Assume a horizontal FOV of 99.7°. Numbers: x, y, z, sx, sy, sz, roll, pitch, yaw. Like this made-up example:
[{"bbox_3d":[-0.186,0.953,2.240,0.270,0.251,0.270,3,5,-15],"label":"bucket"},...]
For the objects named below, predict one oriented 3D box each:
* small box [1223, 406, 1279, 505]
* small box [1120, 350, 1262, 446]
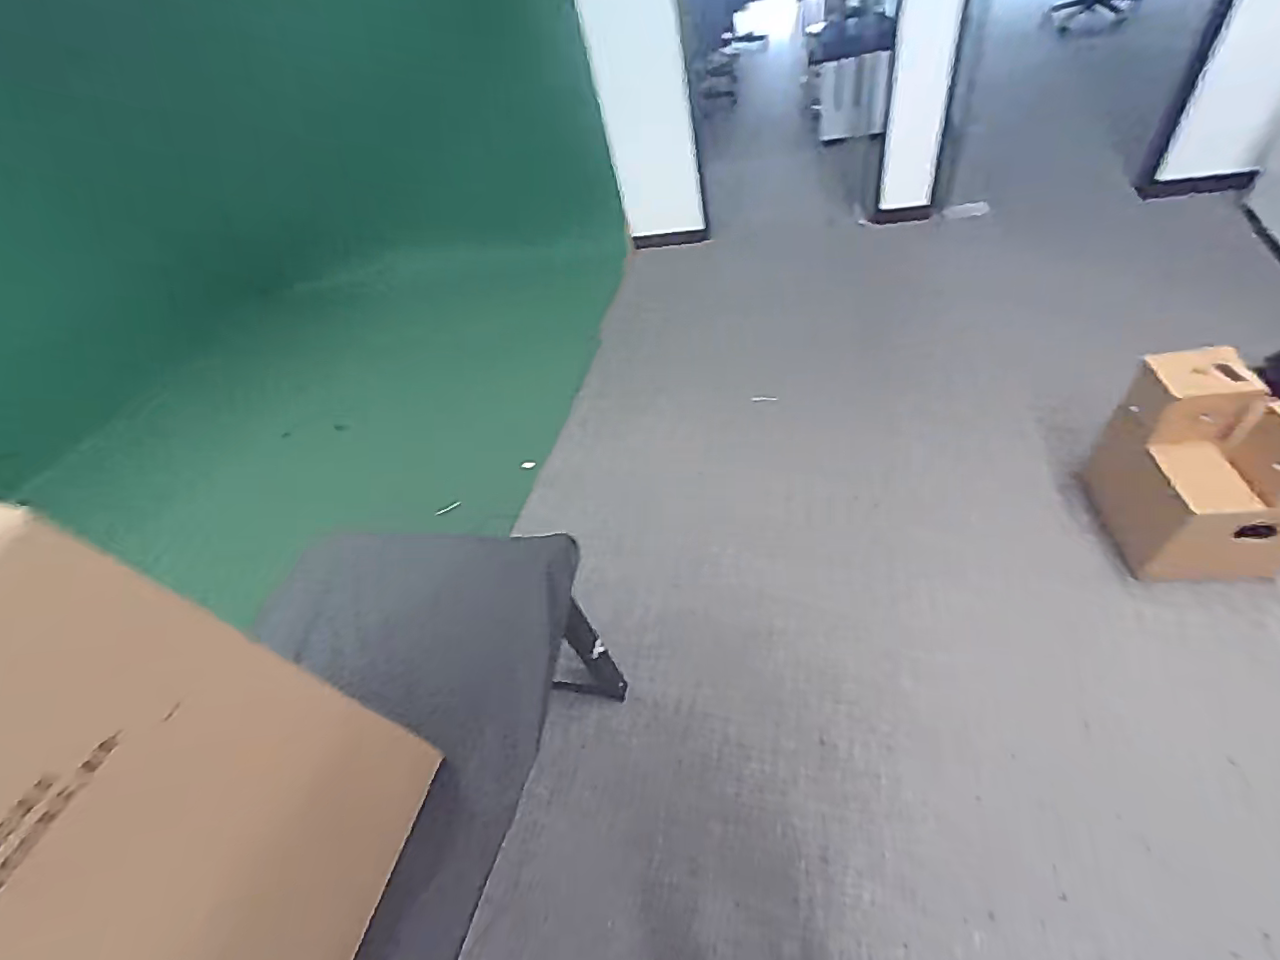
[{"bbox_3d":[1.499,-0.053,1.213,0.168,0.176,0.179,-4,47,9],"label":"small box"},{"bbox_3d":[1.390,-0.205,1.381,0.179,0.176,0.168,-4,48,17],"label":"small box"}]
